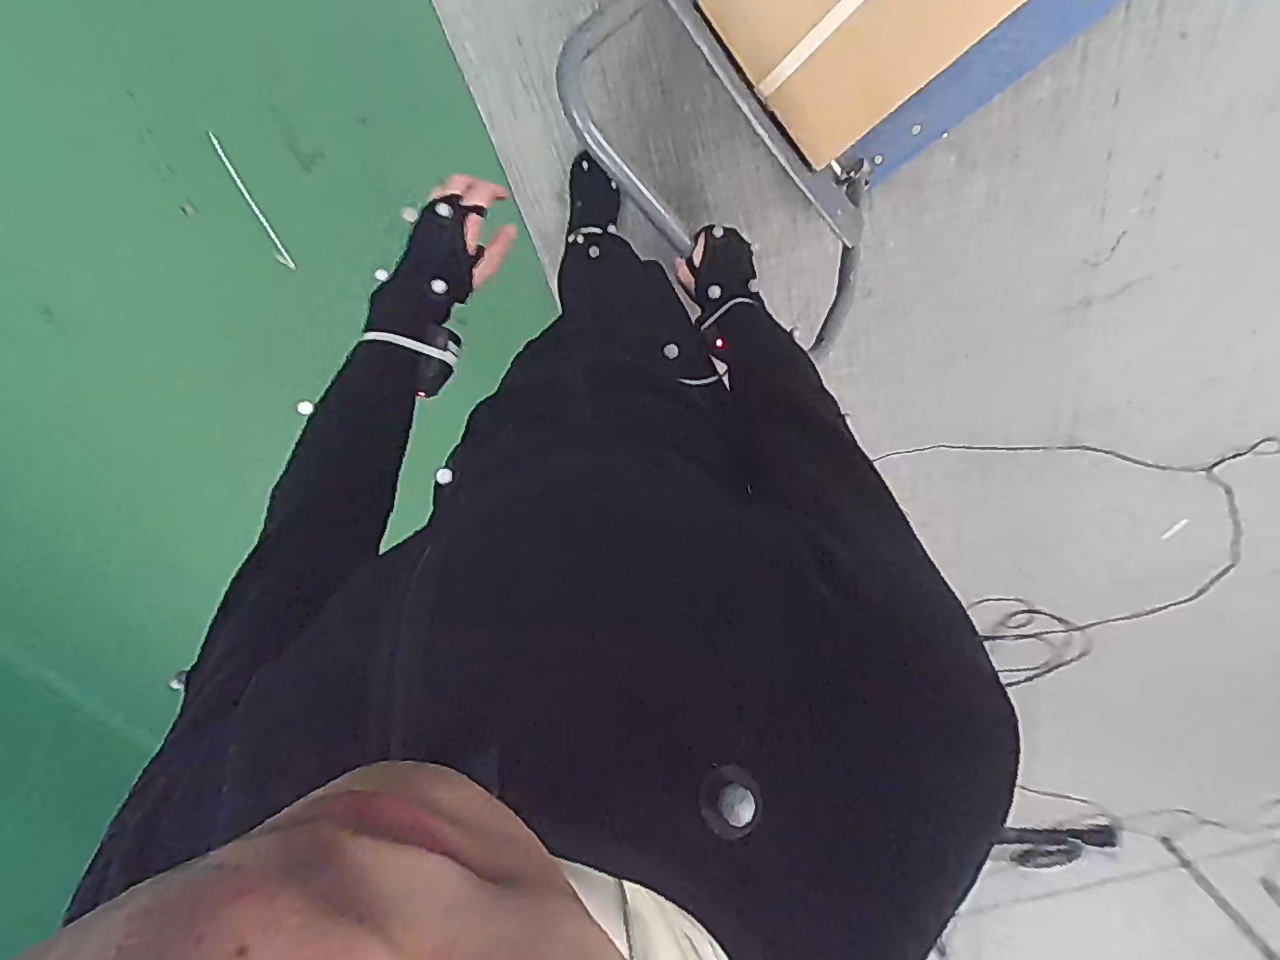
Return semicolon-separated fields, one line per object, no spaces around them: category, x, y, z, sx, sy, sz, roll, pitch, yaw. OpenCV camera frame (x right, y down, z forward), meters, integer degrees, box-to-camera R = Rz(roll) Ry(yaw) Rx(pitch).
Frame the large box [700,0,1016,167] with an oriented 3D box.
large box;0.357;-0.790;0.825;0.320;0.320;0.408;41;133;-22
